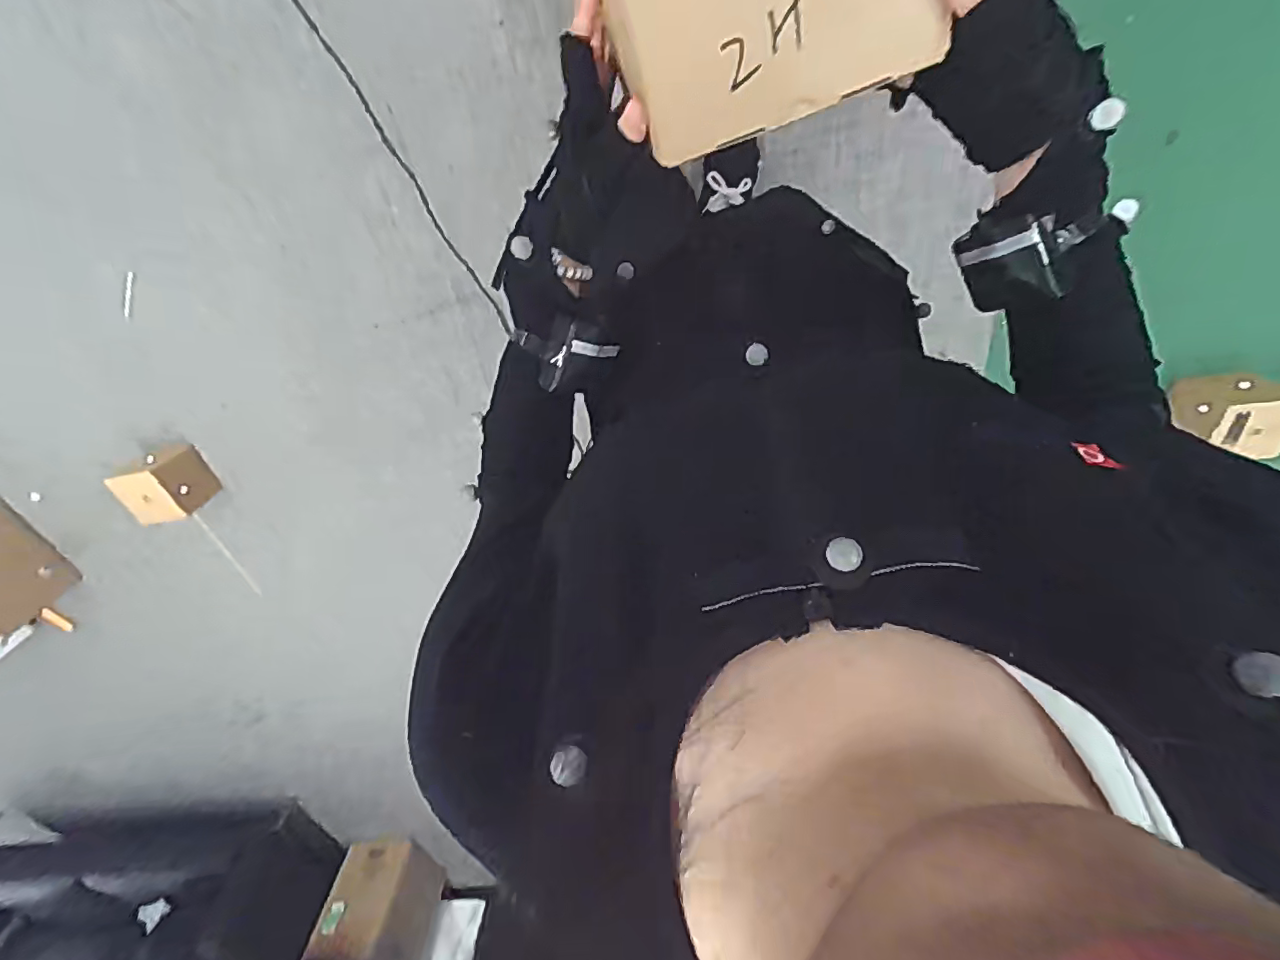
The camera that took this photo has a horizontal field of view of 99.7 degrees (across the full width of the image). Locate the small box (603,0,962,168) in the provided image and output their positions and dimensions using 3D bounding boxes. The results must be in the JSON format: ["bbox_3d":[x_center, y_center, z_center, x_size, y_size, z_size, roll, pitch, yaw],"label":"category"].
[{"bbox_3d":[0.059,-0.312,0.306,0.168,0.176,0.179,-18,131,7],"label":"small box"}]

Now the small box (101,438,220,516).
[{"bbox_3d":[-1.469,-0.017,1.670,0.168,0.176,0.179,-8,126,9],"label":"small box"}]
